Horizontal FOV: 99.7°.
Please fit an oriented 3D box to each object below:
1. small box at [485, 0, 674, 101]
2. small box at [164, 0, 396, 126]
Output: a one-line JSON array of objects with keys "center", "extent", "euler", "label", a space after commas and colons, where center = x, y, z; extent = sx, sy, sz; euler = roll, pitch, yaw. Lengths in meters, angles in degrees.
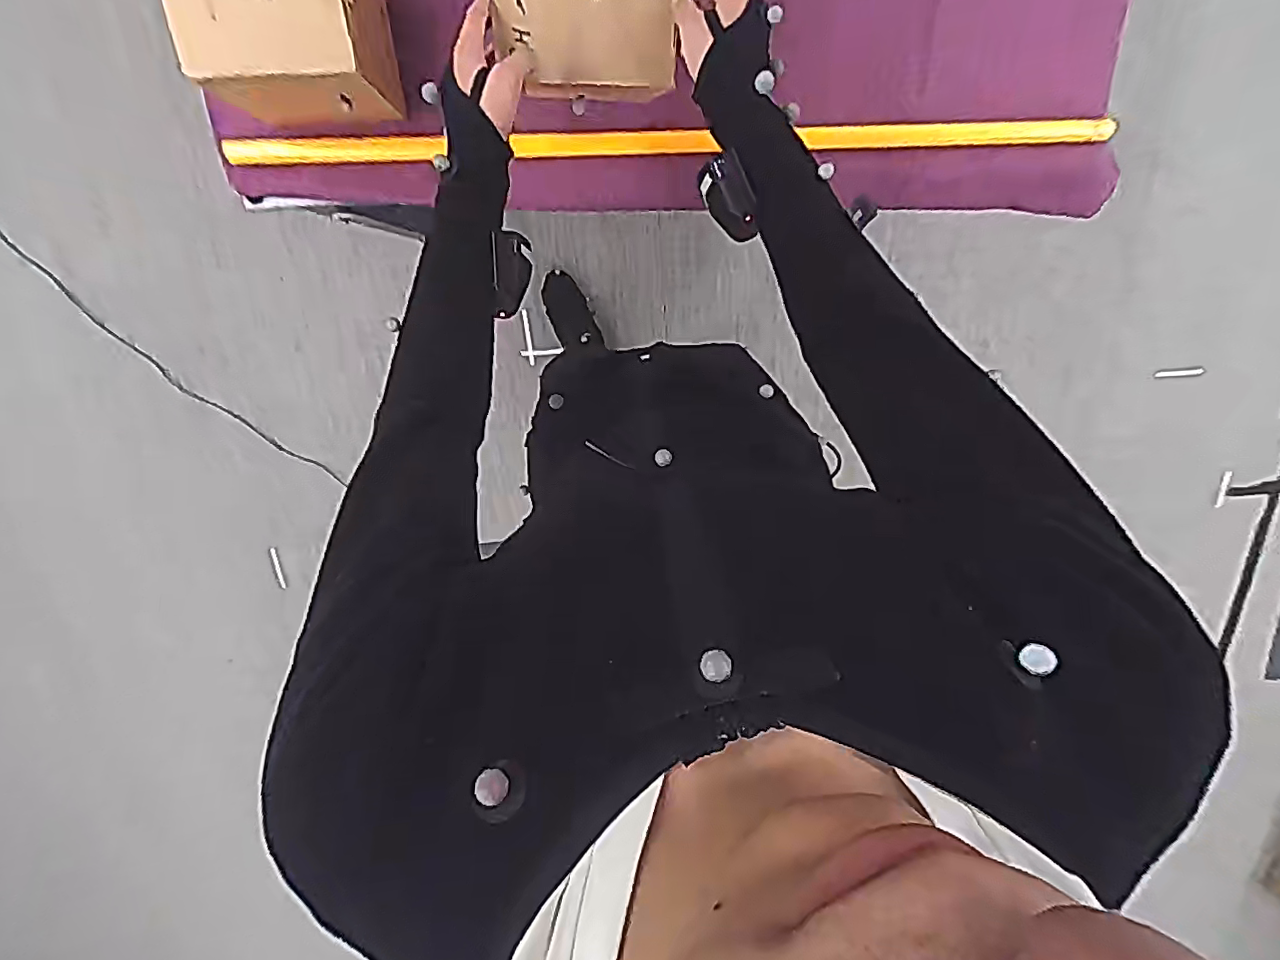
[{"center": [-0.067, -0.497, 0.552], "extent": [0.179, 0.176, 0.168], "euler": [-4, 121, -9], "label": "small box"}, {"center": [-0.393, -0.519, 0.609], "extent": [0.179, 0.176, 0.168], "euler": [-6, 109, -5], "label": "small box"}]
